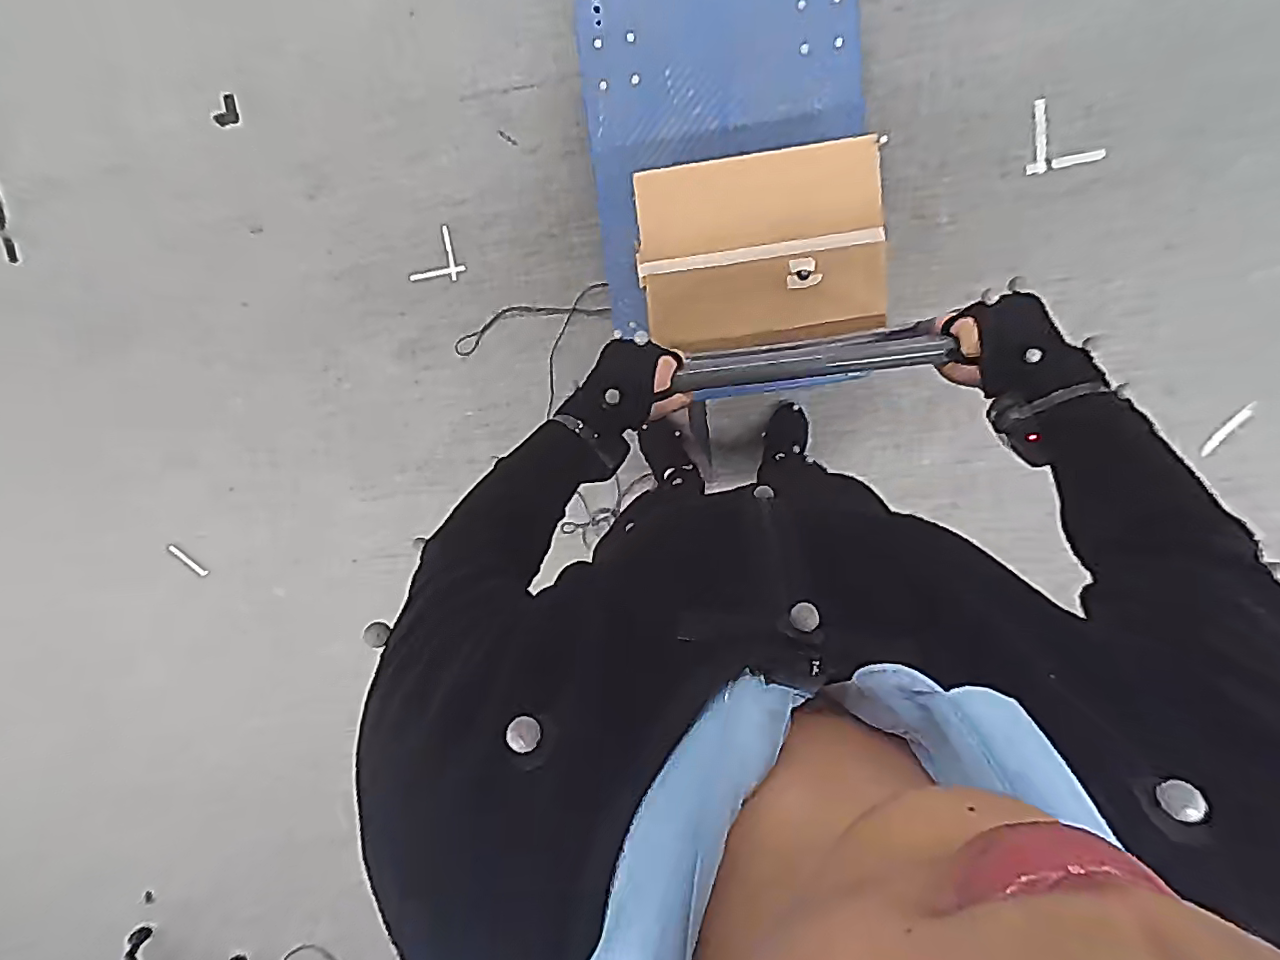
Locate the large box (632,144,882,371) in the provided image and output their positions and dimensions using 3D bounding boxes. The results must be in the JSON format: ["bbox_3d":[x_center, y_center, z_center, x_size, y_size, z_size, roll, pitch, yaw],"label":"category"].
[{"bbox_3d":[0.210,-0.400,1.067,0.408,0.320,0.320,-6,100,5],"label":"large box"}]
